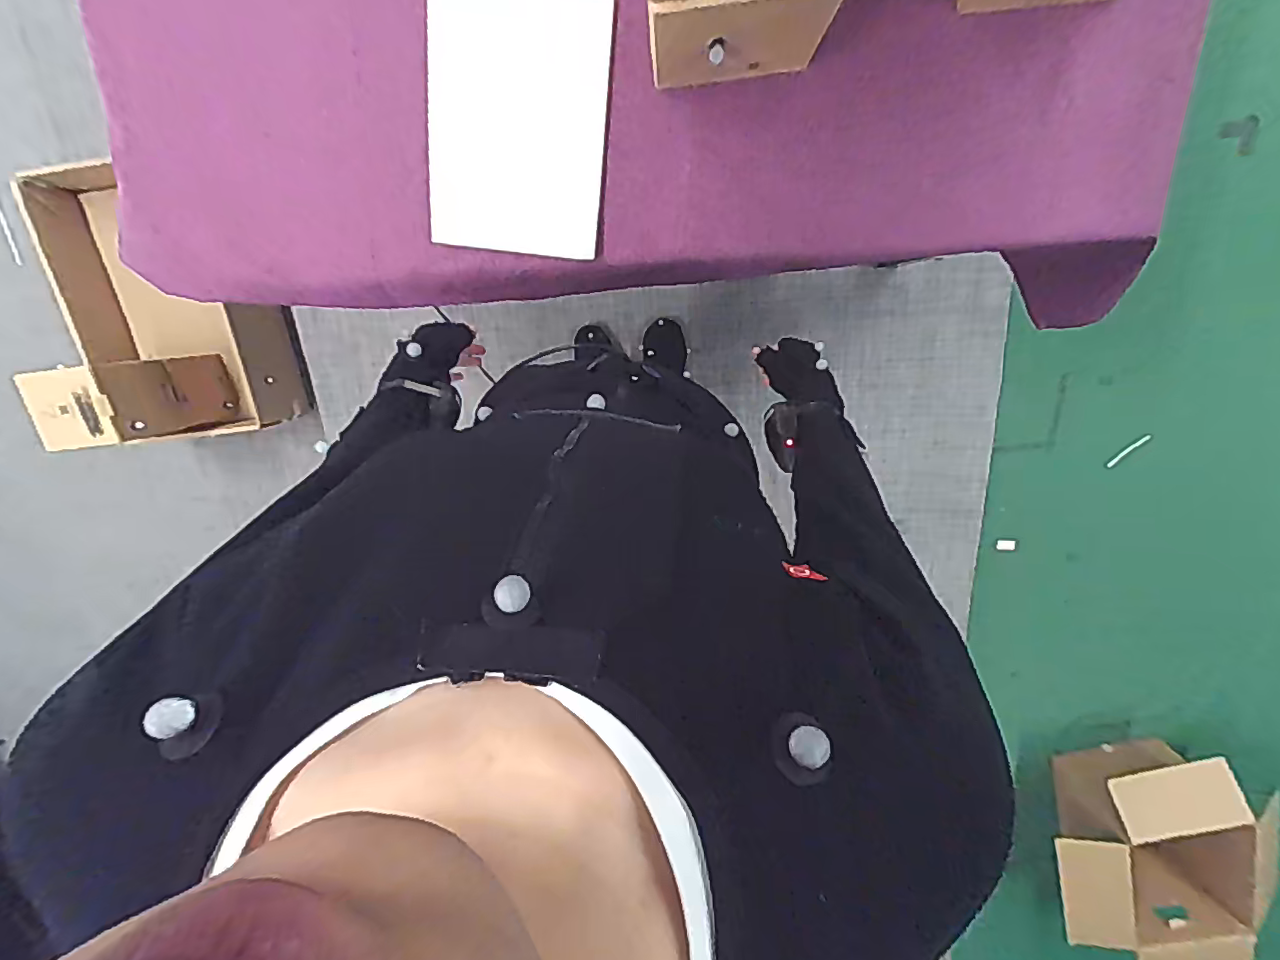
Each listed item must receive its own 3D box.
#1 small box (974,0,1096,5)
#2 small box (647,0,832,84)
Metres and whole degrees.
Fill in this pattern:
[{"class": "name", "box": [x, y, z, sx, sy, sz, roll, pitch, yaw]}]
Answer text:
[{"class": "small box", "box": [0.401, -0.549, 0.462, 0.168, 0.176, 0.179, -2, 107, 3]}, {"class": "small box", "box": [0.086, -0.496, 0.497, 0.168, 0.176, 0.179, -4, 106, 5]}]
